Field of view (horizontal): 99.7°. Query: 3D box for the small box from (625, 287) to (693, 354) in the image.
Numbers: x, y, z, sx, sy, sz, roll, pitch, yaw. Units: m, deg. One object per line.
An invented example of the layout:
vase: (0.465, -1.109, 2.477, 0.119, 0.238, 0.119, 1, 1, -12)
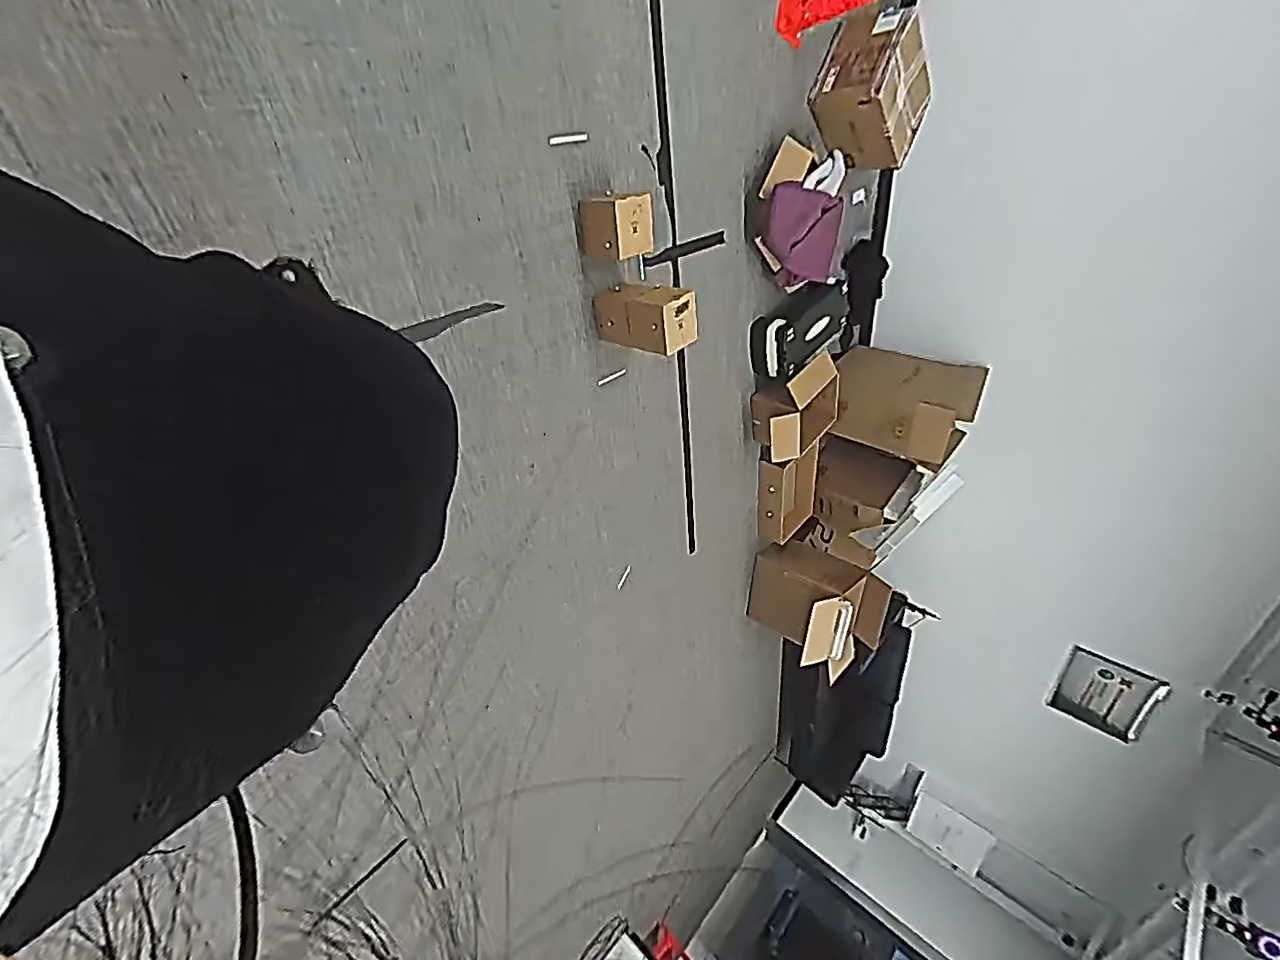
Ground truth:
small box: (0.064, -0.557, 1.863, 0.168, 0.176, 0.179, -37, 134, -33)

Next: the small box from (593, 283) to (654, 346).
small box: (-0.054, -0.606, 1.969, 0.179, 0.176, 0.168, -36, 133, -32)

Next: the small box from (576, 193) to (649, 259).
small box: (-0.091, -0.846, 1.795, 0.168, 0.176, 0.179, -33, 131, -36)
